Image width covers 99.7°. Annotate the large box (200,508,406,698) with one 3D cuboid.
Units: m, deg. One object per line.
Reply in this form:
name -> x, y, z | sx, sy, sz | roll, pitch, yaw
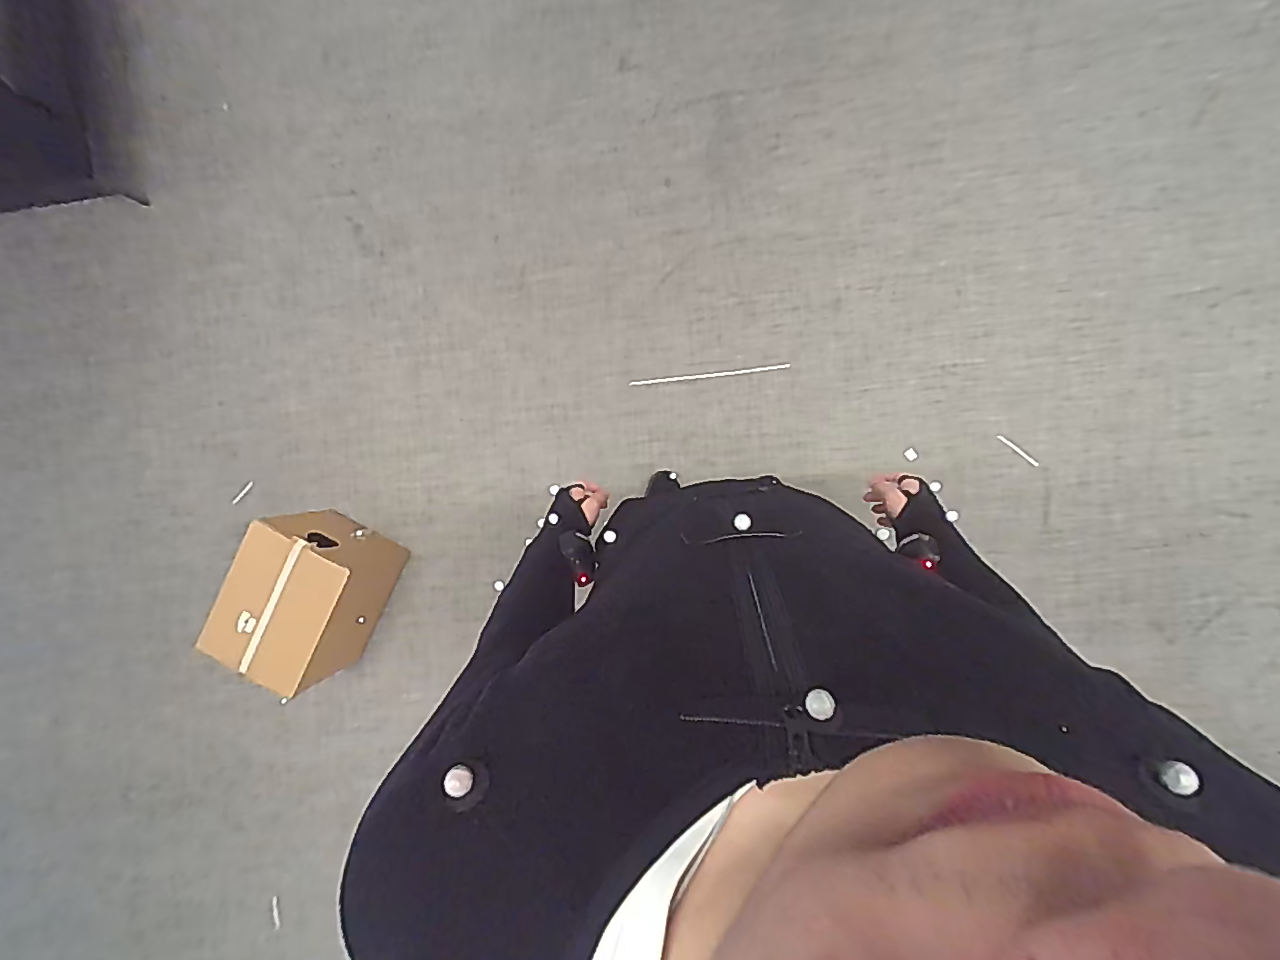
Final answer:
large box -> -0.969, 0.337, 1.596 | 0.320, 0.320, 0.408 | 27, 95, 4
